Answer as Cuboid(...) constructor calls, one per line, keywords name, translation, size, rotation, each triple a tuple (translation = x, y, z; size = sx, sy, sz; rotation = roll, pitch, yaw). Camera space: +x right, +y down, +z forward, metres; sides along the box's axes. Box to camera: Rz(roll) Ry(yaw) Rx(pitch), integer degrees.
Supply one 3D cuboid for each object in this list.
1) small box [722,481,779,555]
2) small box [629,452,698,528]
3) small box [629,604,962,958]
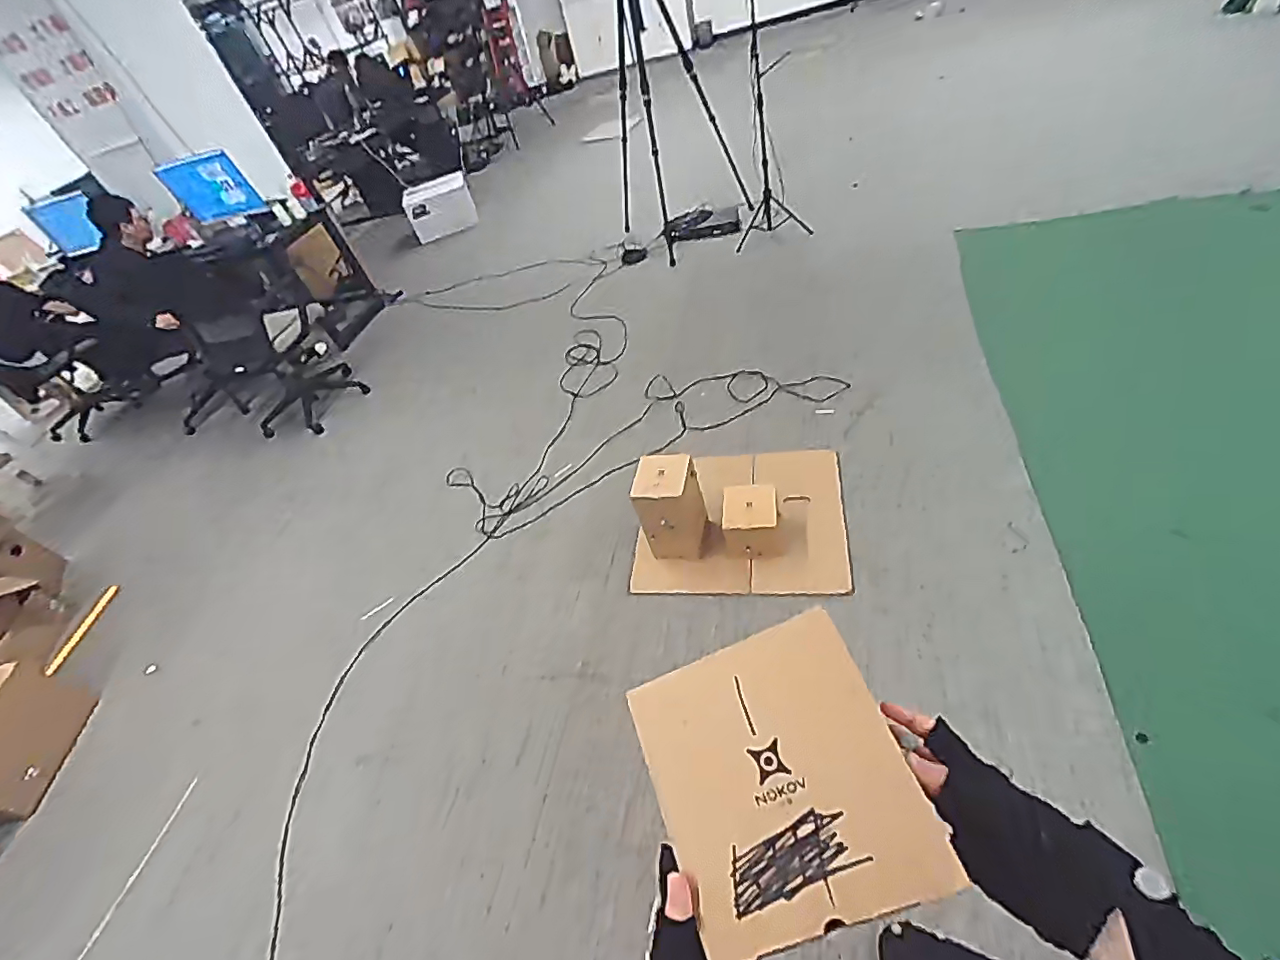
Cuboid(name="small box", translation=(0.360, 0.125, 1.752), size=(0.168, 0.176, 0.179), rotation=(-4, 48, 15))
Cuboid(name="small box", translation=(0.081, 0.032, 1.701), size=(0.168, 0.176, 0.179), rotation=(-2, 48, 20))
Cuboid(name="small box", translation=(0.118, 0.222, 0.431), size=(0.168, 0.176, 0.179), rotation=(-27, 61, 9))
